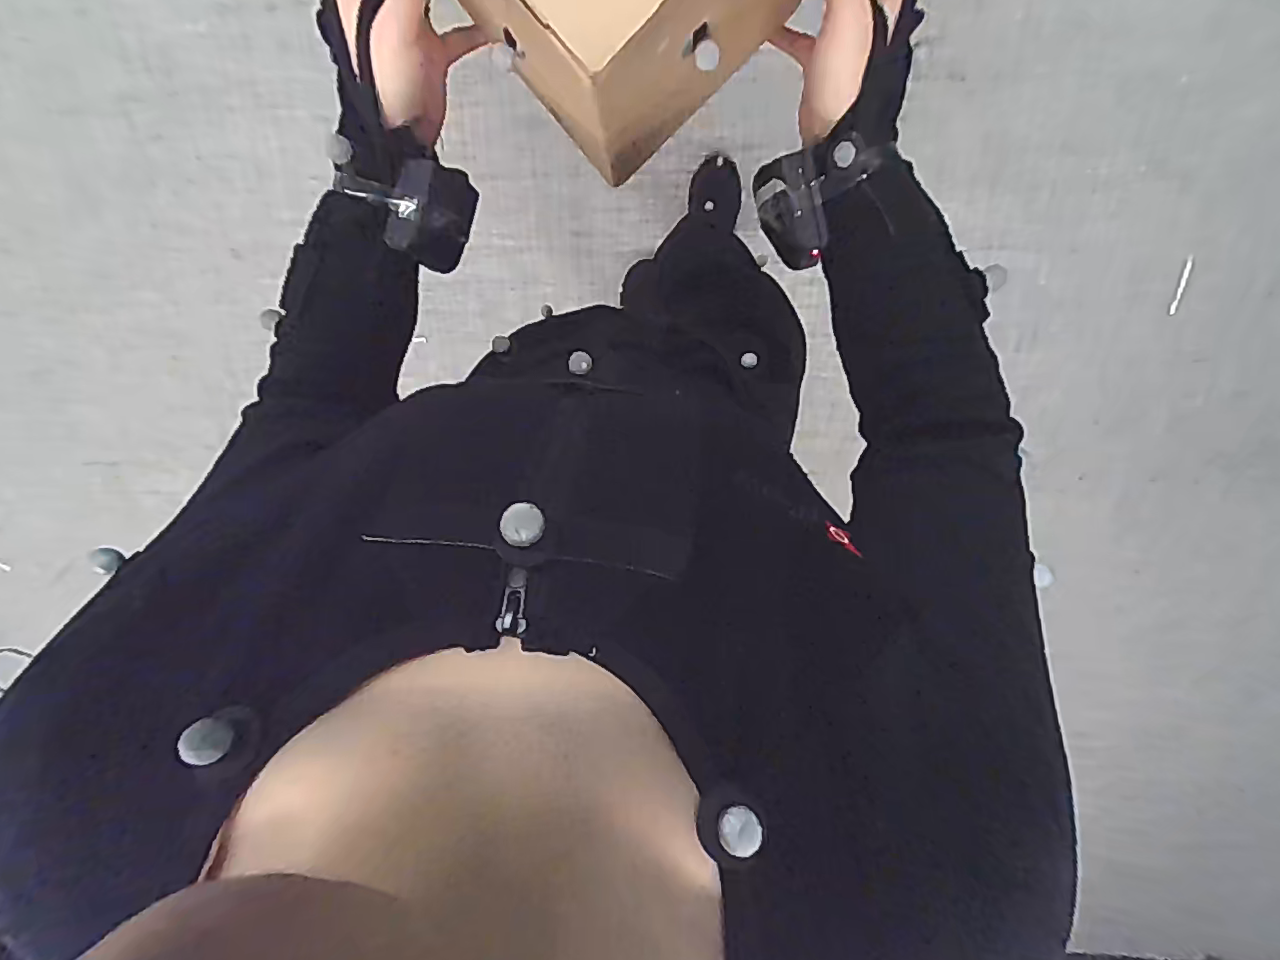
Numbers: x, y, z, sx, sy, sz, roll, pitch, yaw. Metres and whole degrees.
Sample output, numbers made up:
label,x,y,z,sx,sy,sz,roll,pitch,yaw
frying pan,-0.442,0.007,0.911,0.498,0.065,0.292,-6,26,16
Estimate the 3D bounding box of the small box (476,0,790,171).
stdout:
label,x,y,z,sx,sy,sz,roll,pitch,yaw
small box,-0.008,-0.318,0.303,0.179,0.176,0.168,-42,99,11
